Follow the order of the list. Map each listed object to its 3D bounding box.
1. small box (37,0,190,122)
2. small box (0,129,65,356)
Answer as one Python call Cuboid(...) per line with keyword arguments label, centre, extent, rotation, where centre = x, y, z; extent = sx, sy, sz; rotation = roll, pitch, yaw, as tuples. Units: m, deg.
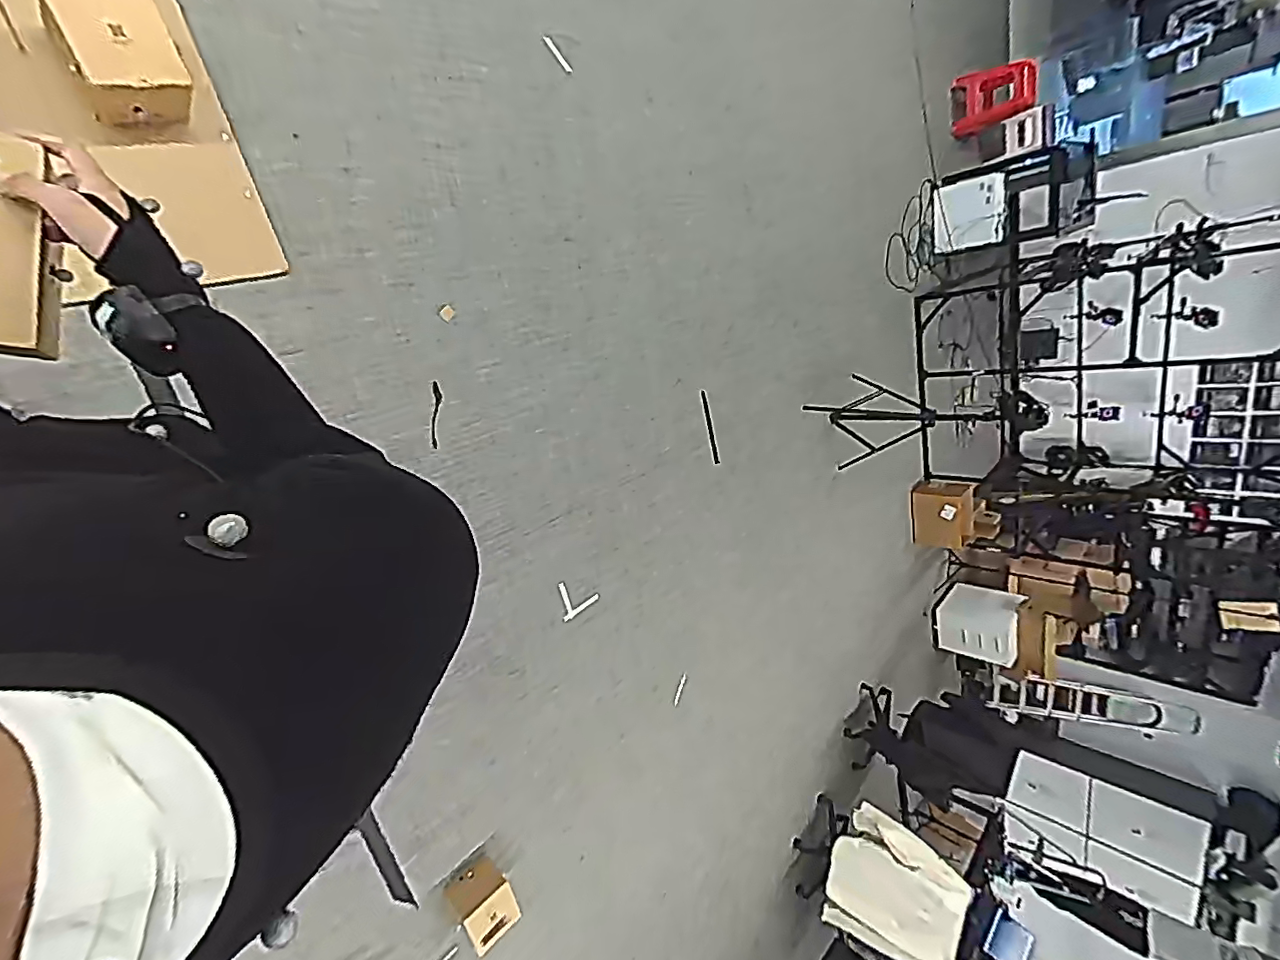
Cuboid(label="small box", centre=(-1.047, -0.849, 1.080), extent=(0.168, 0.176, 0.179), rotation=(-33, 117, -35))
Cuboid(label="small box", centre=(-0.625, -0.212, 0.465), extent=(0.168, 0.176, 0.179), rotation=(3, 95, -43))
